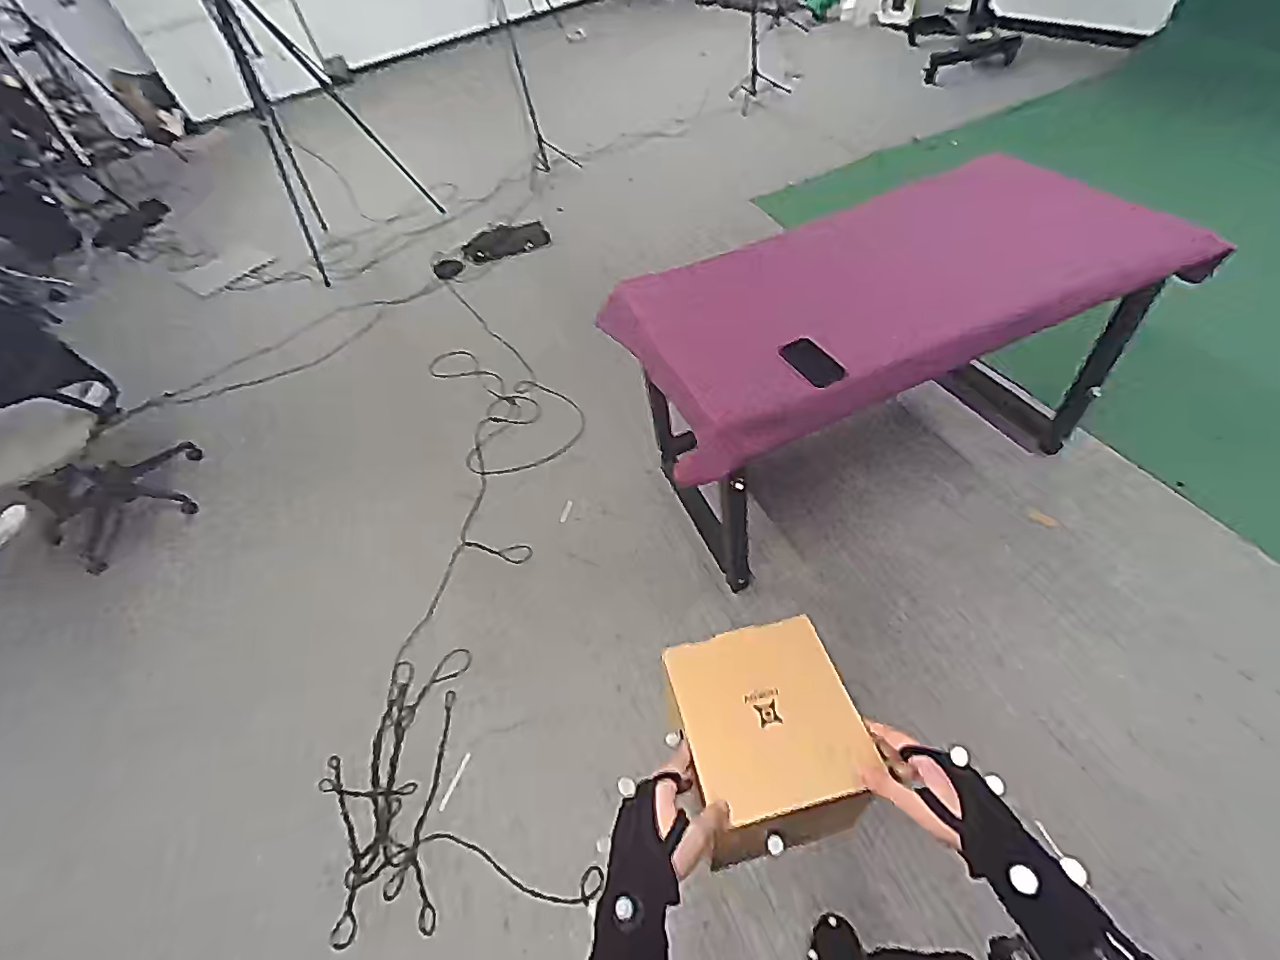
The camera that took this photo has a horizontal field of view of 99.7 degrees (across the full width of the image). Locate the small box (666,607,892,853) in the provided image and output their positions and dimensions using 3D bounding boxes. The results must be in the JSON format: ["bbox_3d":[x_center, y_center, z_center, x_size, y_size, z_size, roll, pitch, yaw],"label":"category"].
[{"bbox_3d":[0.131,0.269,0.574,0.168,0.176,0.179,-12,44,-6],"label":"small box"}]
